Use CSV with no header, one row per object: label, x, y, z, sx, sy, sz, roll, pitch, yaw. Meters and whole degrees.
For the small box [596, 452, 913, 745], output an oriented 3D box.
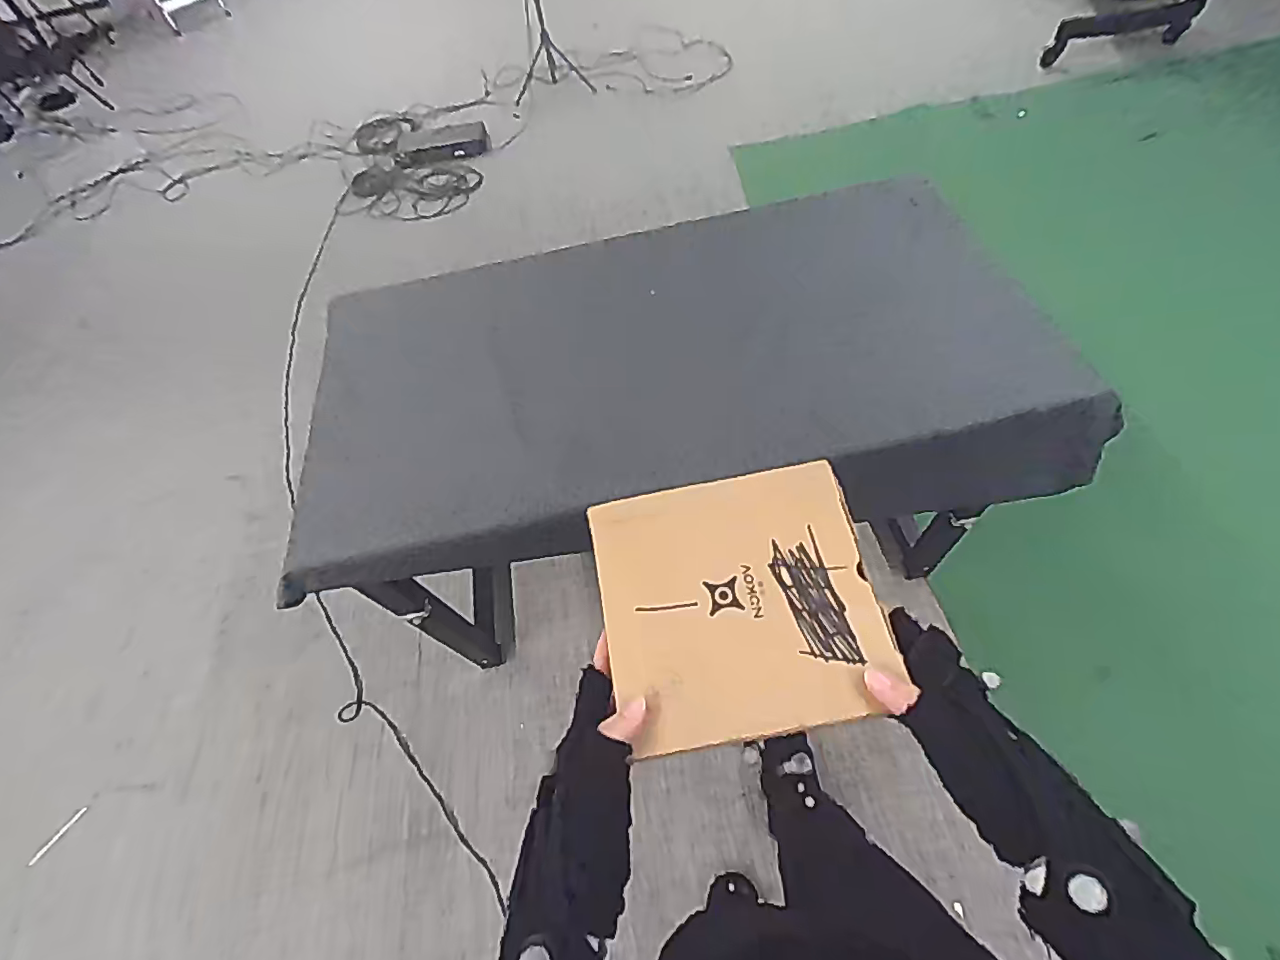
small box,0.071,0.102,0.432,0.179,0.176,0.168,-13,64,-3
